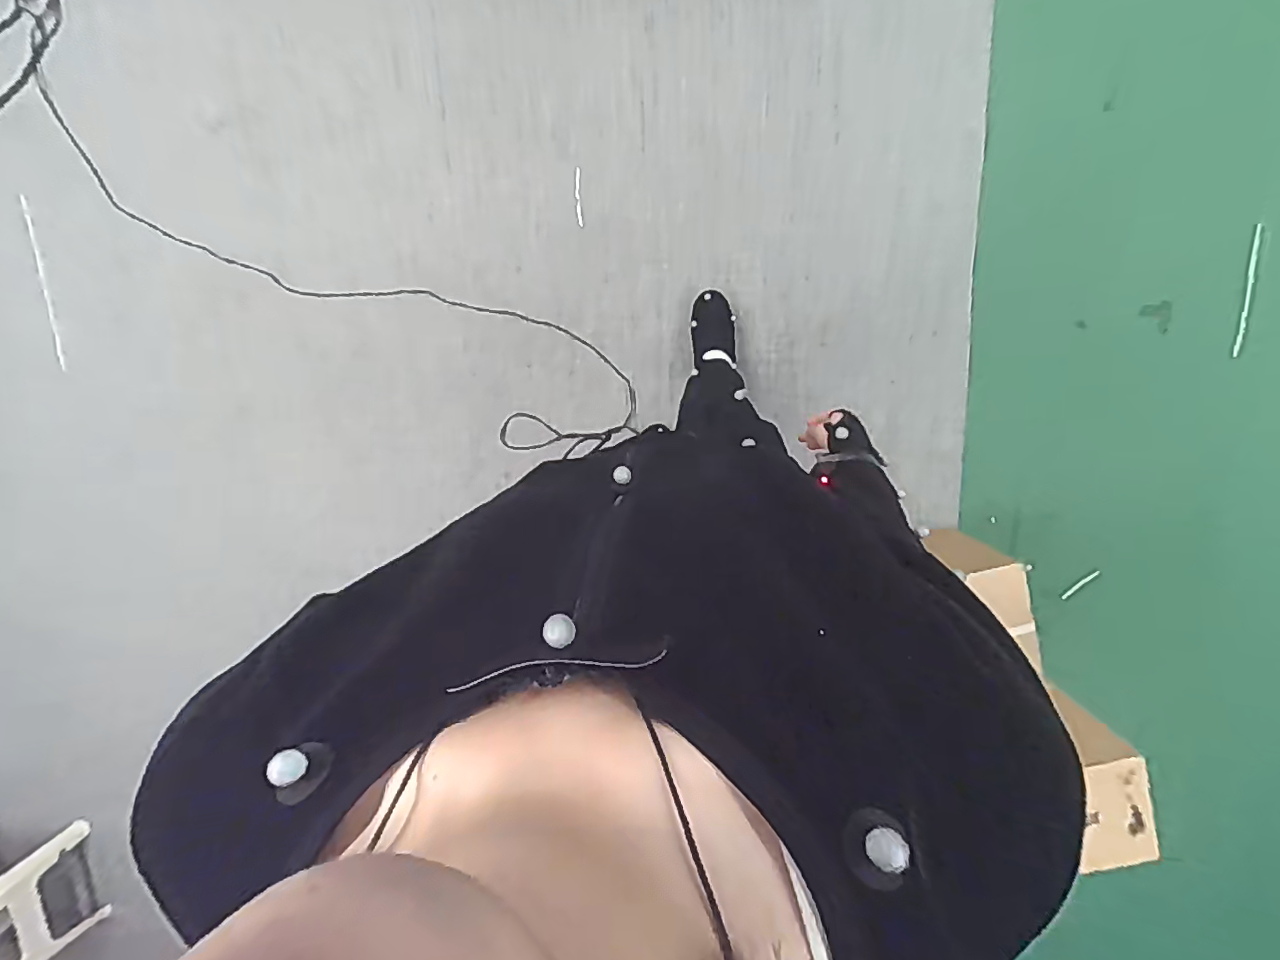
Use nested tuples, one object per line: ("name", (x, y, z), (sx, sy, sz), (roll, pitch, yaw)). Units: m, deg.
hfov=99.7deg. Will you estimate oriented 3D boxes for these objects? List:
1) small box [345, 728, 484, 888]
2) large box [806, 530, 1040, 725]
("small box", (-0.433, 0.637, 1.072), (0.168, 0.176, 0.179), (33, 102, -2))
("large box", (0.687, 0.352, 1.371), (0.408, 0.320, 0.320), (-15, 100, 5))
